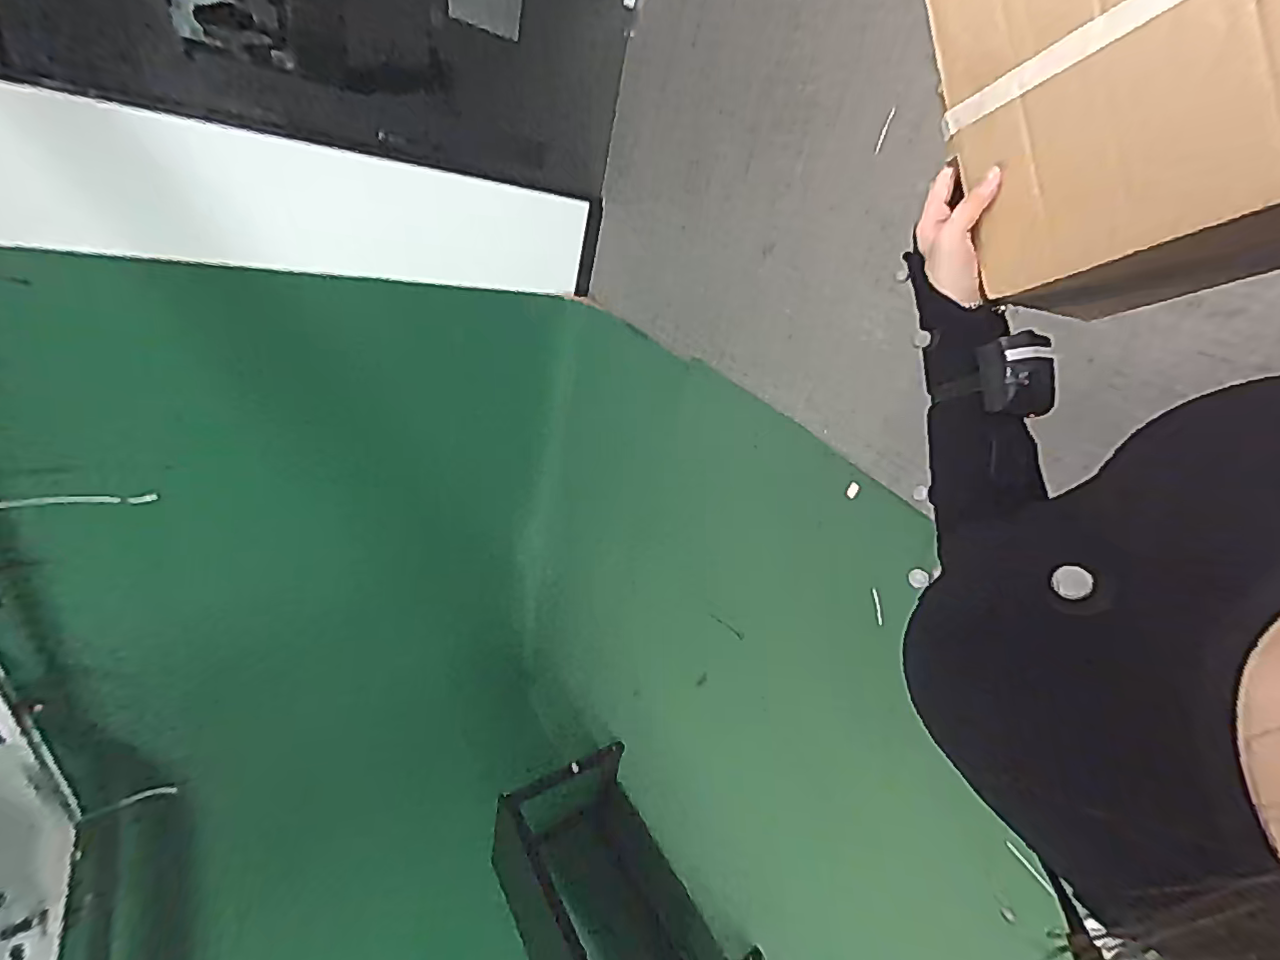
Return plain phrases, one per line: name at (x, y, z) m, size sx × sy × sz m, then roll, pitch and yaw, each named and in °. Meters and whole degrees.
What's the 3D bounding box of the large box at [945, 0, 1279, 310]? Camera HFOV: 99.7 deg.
large box at (0.509, -0.358, 0.397) m, size 0.408 × 0.320 × 0.320 m, roll -12°, pitch 88°, yaw 50°
